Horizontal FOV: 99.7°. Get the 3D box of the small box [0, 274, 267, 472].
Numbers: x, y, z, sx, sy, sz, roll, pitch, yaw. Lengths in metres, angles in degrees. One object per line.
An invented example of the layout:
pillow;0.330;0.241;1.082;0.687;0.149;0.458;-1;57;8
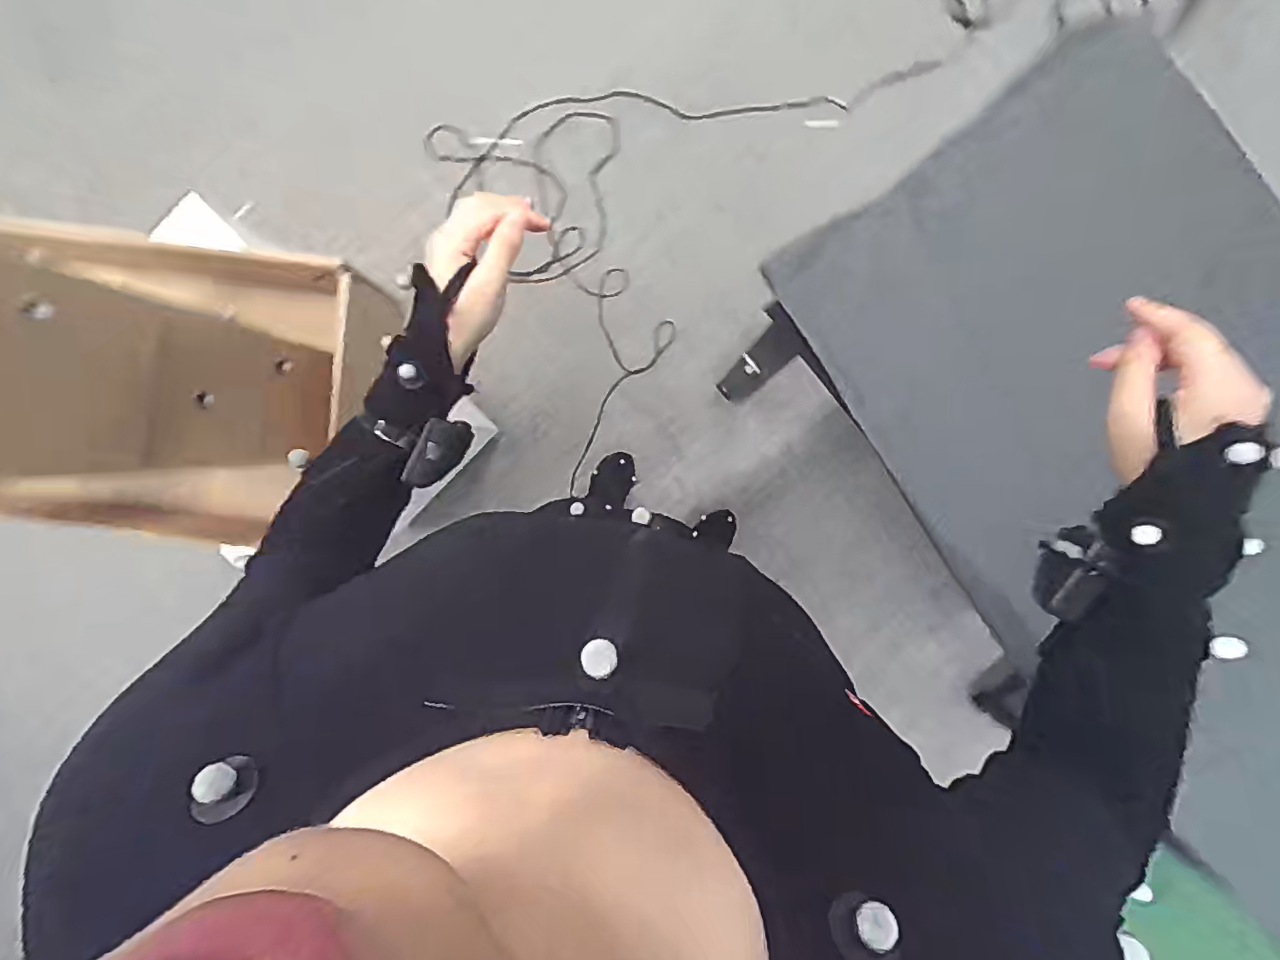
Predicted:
small box;-0.562;-0.110;0.611;0.168;0.176;0.179;8;94;2
